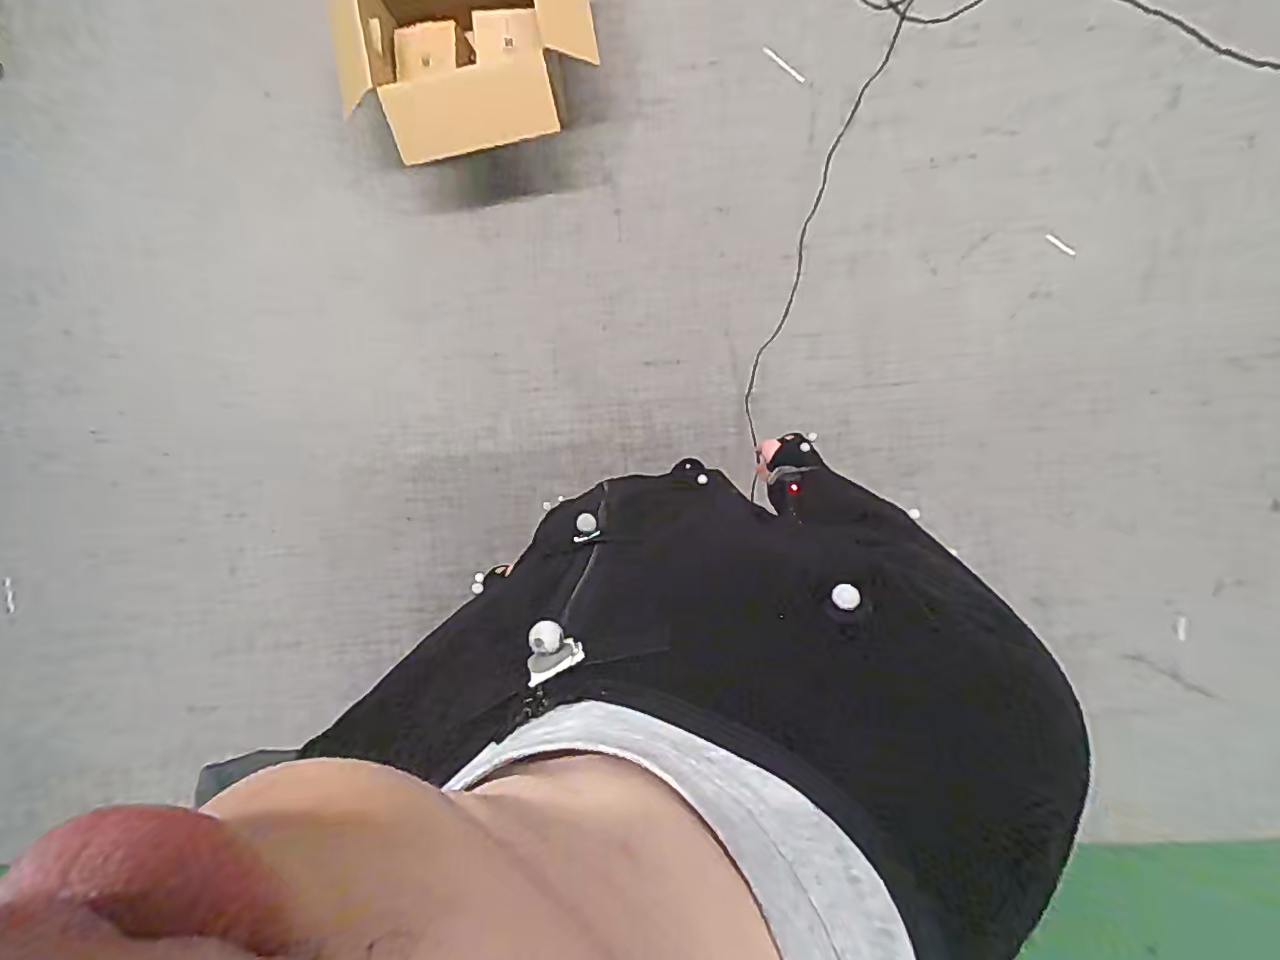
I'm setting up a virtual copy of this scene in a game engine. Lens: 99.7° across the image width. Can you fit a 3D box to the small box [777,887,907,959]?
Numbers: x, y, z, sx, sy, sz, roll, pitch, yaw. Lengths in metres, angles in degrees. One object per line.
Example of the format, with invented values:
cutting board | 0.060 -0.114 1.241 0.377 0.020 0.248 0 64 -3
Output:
small box | 0.304 0.746 0.792 0.168 0.176 0.179 -6 95 3
